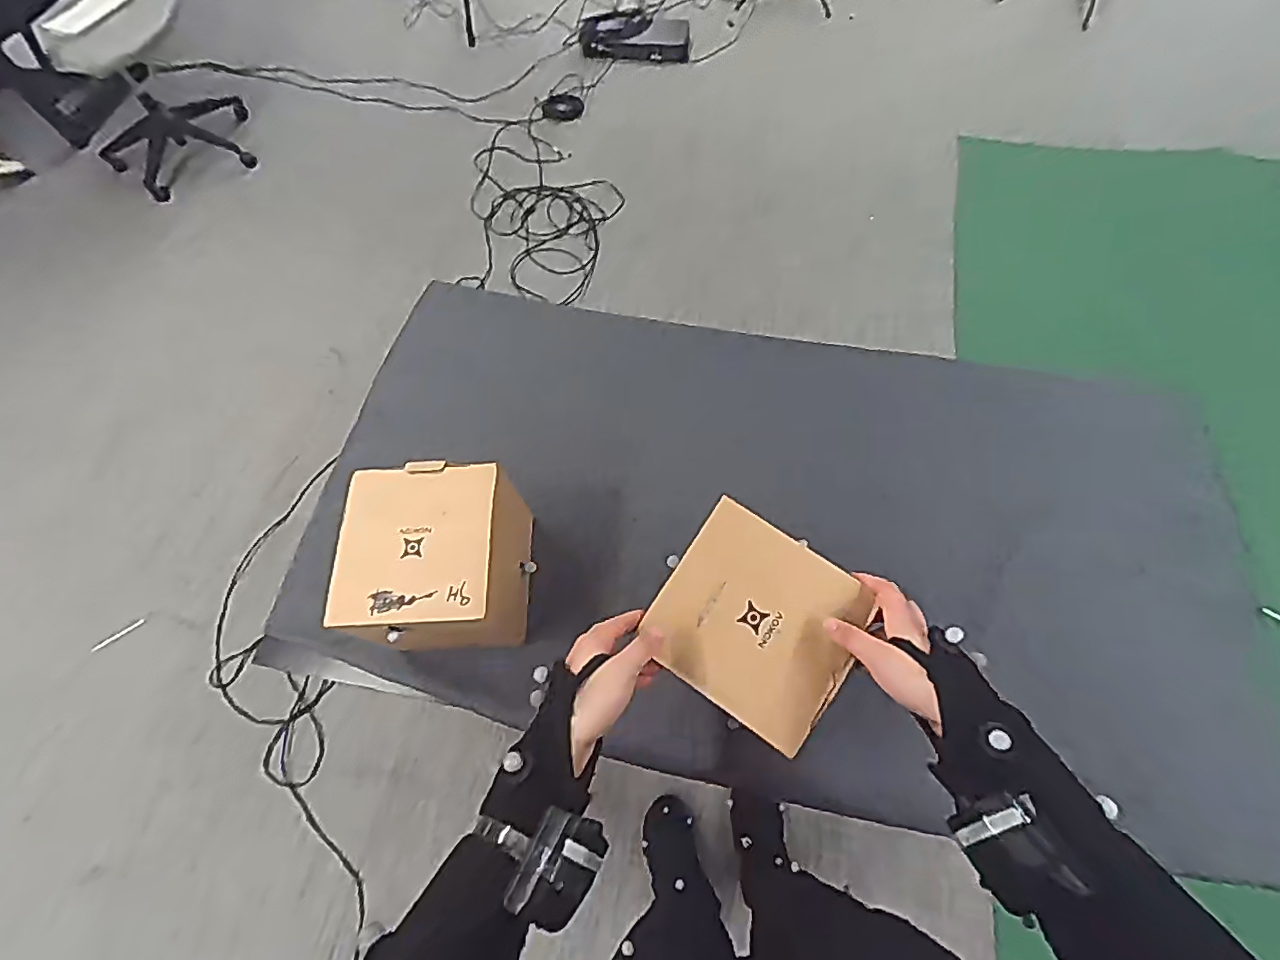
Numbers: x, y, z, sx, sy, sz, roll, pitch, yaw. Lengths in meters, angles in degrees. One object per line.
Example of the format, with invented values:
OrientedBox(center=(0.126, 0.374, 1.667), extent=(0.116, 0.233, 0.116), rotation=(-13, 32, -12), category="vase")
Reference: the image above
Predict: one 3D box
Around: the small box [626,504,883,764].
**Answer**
OrientedBox(center=(0.108, 0.150, 0.563), extent=(0.179, 0.176, 0.168), rotation=(33, 80, 11), category="small box")

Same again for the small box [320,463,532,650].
OrientedBox(center=(-0.231, 0.097, 0.638), extent=(0.168, 0.176, 0.179), rotation=(-3, 64, 4), category="small box")

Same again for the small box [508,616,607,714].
OrientedBox(center=(-0.185, 0.444, 1.282), extent=(0.168, 0.176, 0.179), rotation=(13, 66, 10), category="small box")
